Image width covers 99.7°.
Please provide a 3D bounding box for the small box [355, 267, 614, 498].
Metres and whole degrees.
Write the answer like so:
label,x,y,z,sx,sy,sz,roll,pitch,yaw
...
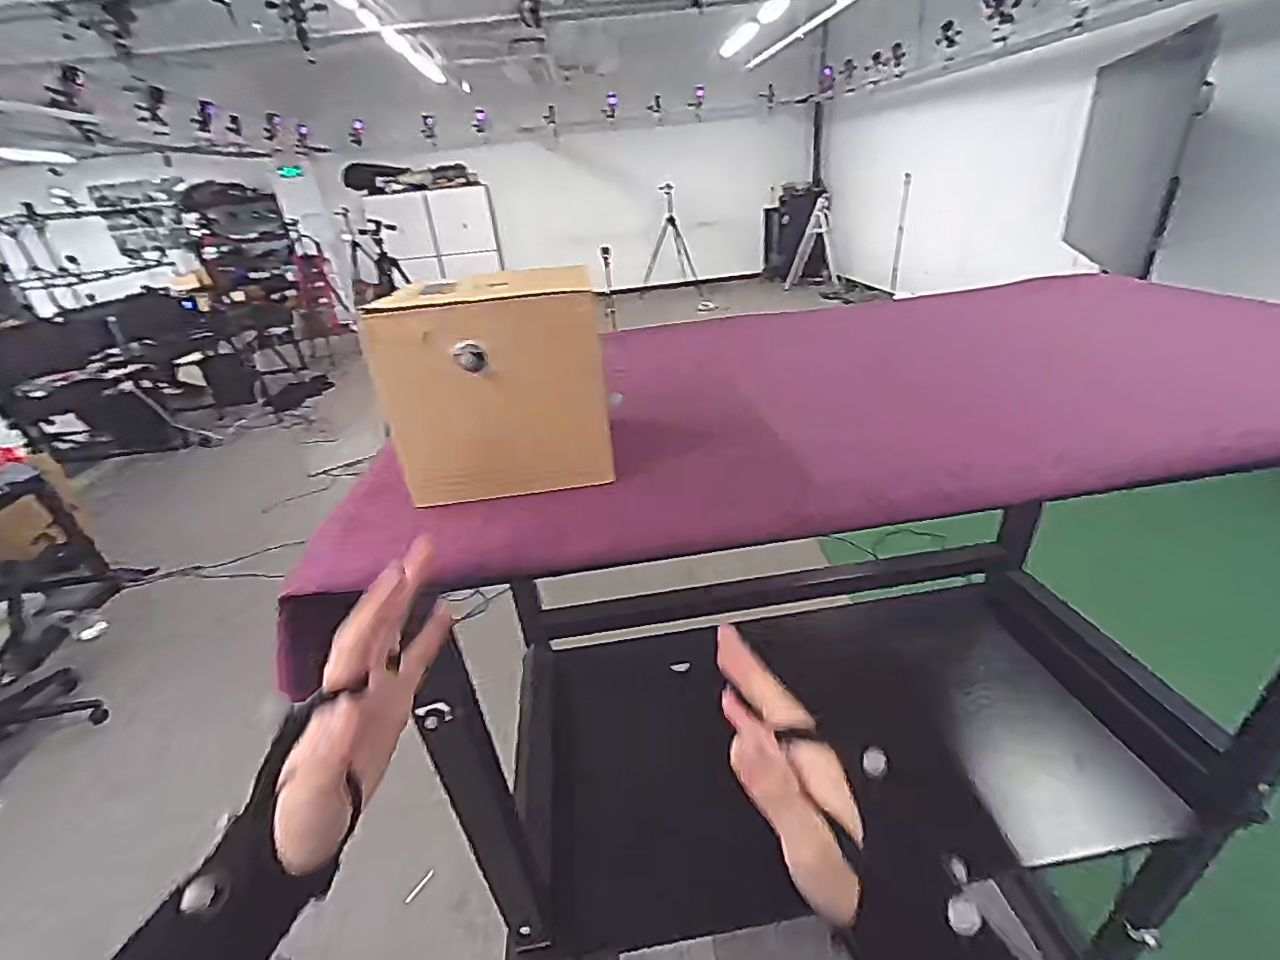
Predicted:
label,x,y,z,sx,sy,sz,roll,pitch,yaw
small box,-0.124,-0.094,0.504,0.179,0.176,0.168,-7,28,-4
